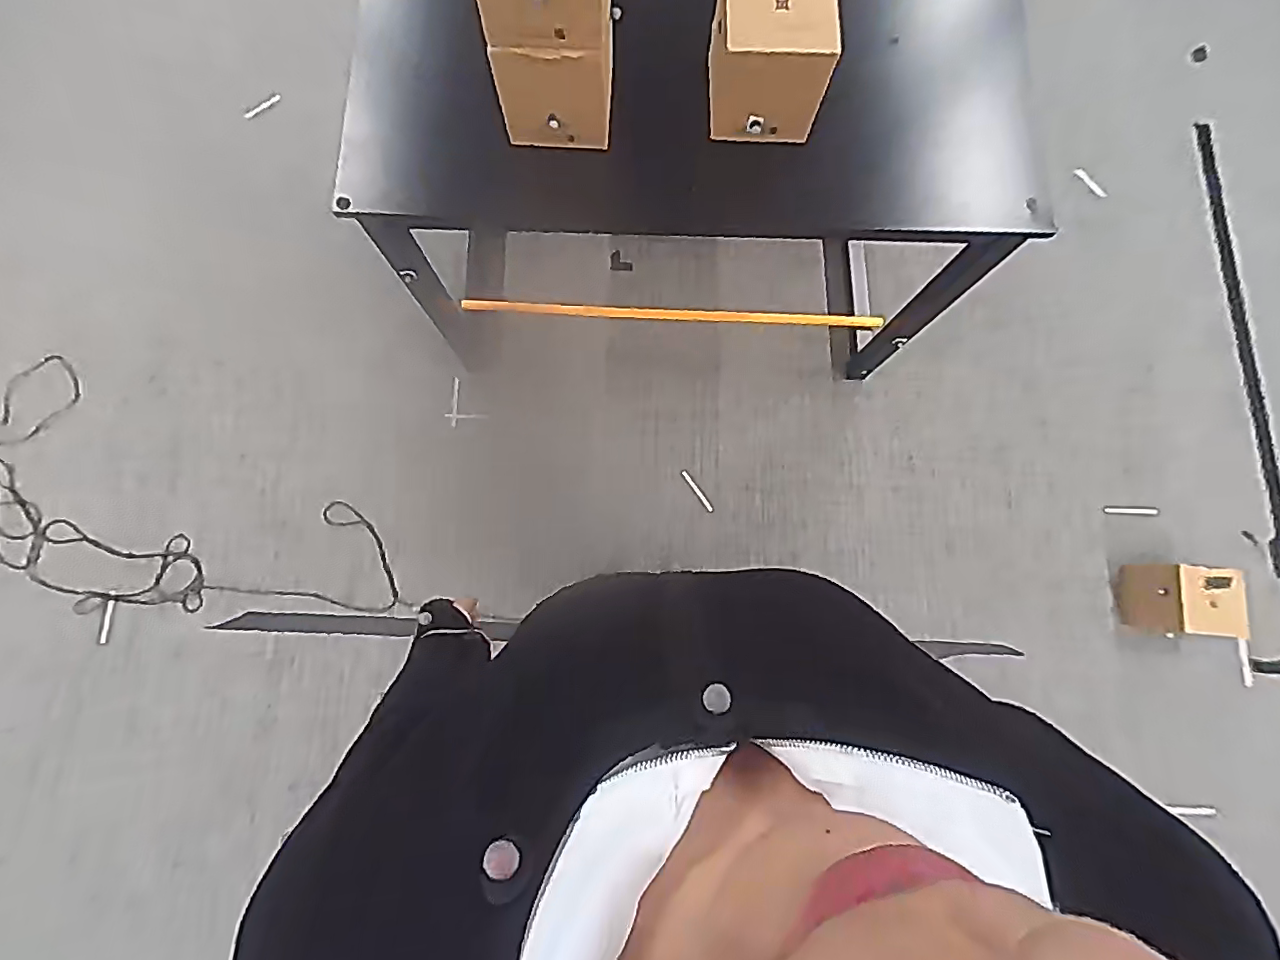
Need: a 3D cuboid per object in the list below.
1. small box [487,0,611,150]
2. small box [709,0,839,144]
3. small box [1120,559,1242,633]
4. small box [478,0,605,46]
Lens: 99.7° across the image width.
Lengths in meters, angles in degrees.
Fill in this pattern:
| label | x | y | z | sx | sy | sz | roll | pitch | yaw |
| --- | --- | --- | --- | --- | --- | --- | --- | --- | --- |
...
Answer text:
| label | x | y | z | sx | sy | sz | roll | pitch | yaw |
| --- | --- | --- | --- | --- | --- | --- | --- | --- | --- |
| small box | -0.133 | -0.665 | 0.853 | 0.168 | 0.176 | 0.179 | 3 | 80 | -1 |
| small box | 0.204 | -0.681 | 0.868 | 0.168 | 0.176 | 0.179 | 0 | 80 | 0 |
| small box | 1.449 | 0.310 | 1.460 | 0.168 | 0.176 | 0.179 | 5 | 80 | 0 |
| small box | -0.130 | -0.704 | 0.694 | 0.168 | 0.176 | 0.179 | 0 | 80 | -2 |
